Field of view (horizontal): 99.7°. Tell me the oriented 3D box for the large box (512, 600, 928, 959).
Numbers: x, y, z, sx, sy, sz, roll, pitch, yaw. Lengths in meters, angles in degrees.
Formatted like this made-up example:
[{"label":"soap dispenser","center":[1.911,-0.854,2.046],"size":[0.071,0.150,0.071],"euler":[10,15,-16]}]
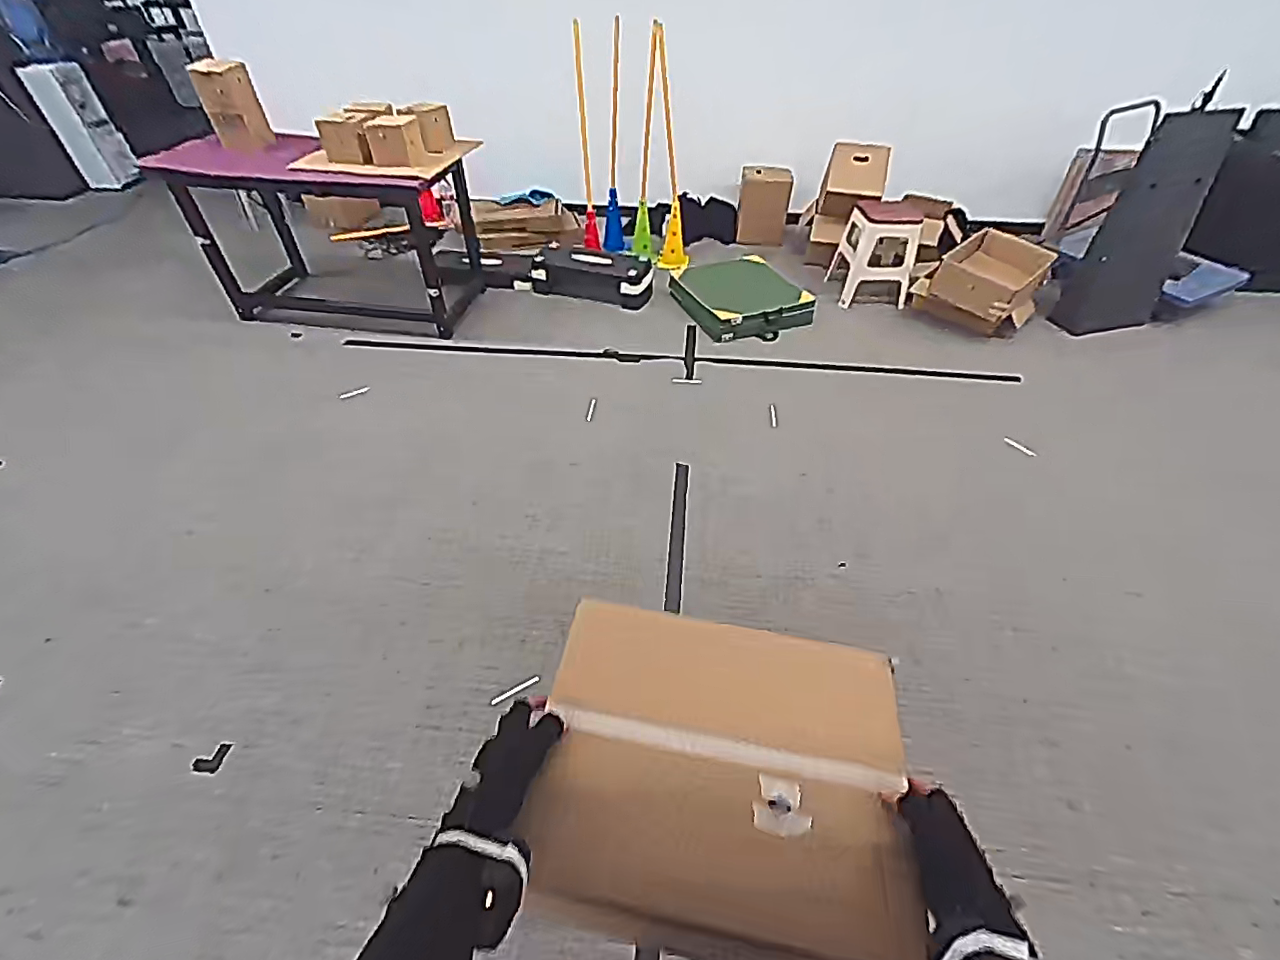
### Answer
[{"label":"large box","center":[0.086,0.401,0.714],"size":[0.408,0.320,0.320],"euler":[10,47,6]}]
